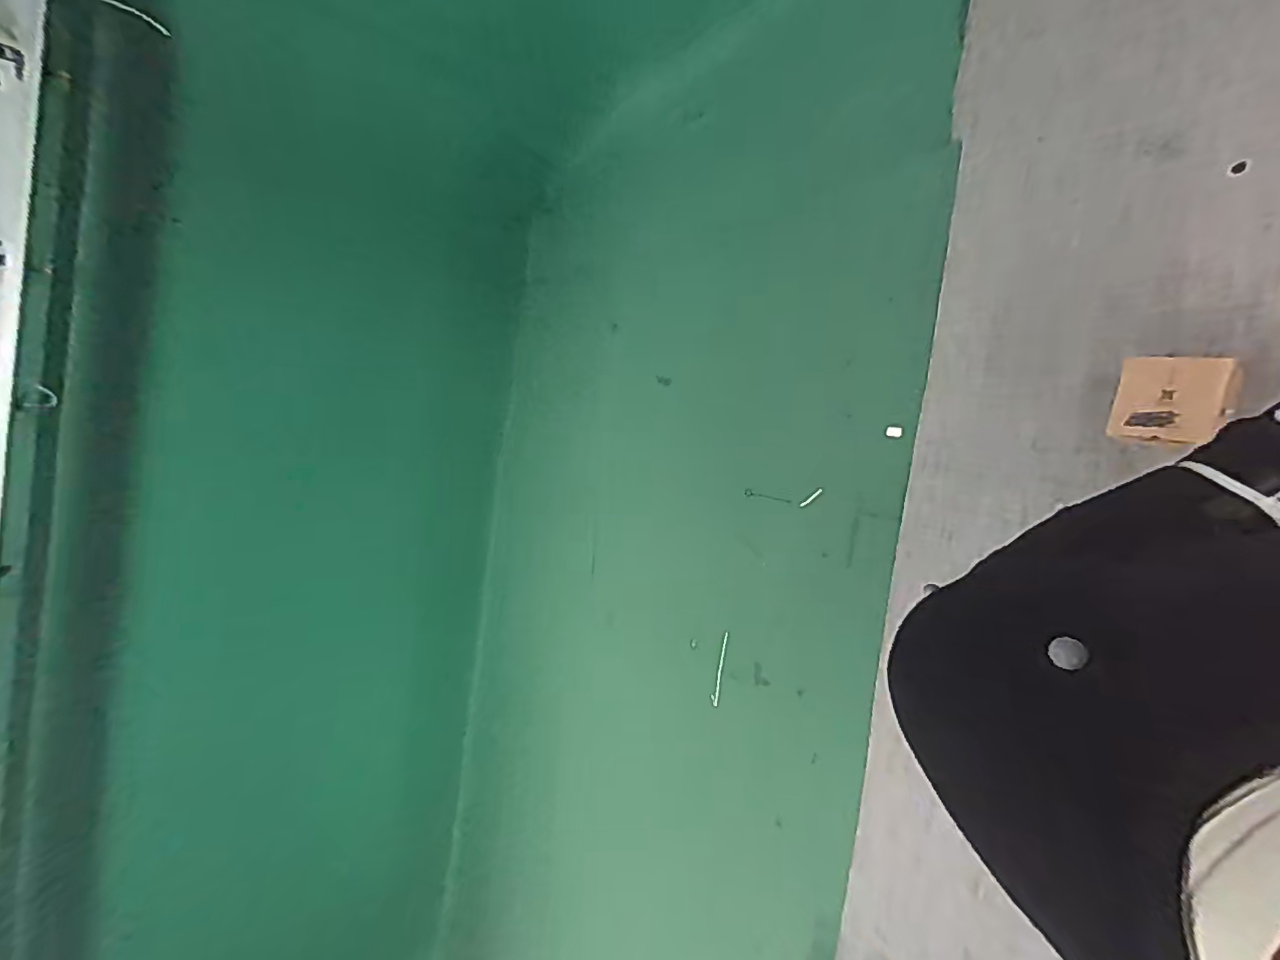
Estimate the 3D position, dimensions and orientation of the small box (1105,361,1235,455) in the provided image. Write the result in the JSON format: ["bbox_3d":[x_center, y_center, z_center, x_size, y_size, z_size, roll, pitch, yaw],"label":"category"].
[{"bbox_3d":[1.171,-0.157,1.193,0.168,0.176,0.179,18,99,50],"label":"small box"}]
